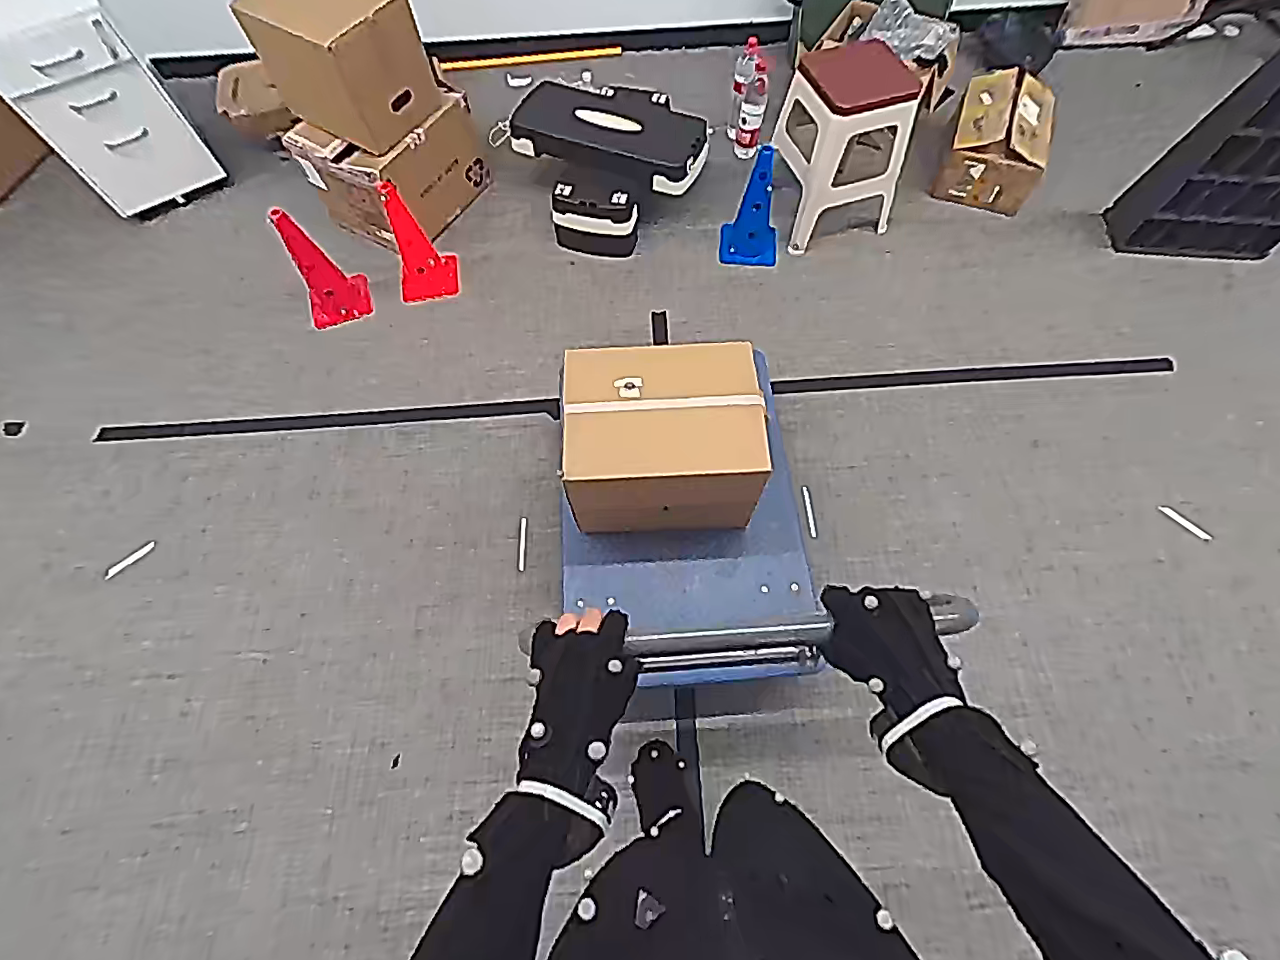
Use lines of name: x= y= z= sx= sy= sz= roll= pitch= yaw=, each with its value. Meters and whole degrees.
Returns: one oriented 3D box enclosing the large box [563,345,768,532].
large box: x=0.049 y=-0.080 z=1.239 sx=0.408 sy=0.320 sz=0.320 roll=-3 pitch=65 yaw=1
